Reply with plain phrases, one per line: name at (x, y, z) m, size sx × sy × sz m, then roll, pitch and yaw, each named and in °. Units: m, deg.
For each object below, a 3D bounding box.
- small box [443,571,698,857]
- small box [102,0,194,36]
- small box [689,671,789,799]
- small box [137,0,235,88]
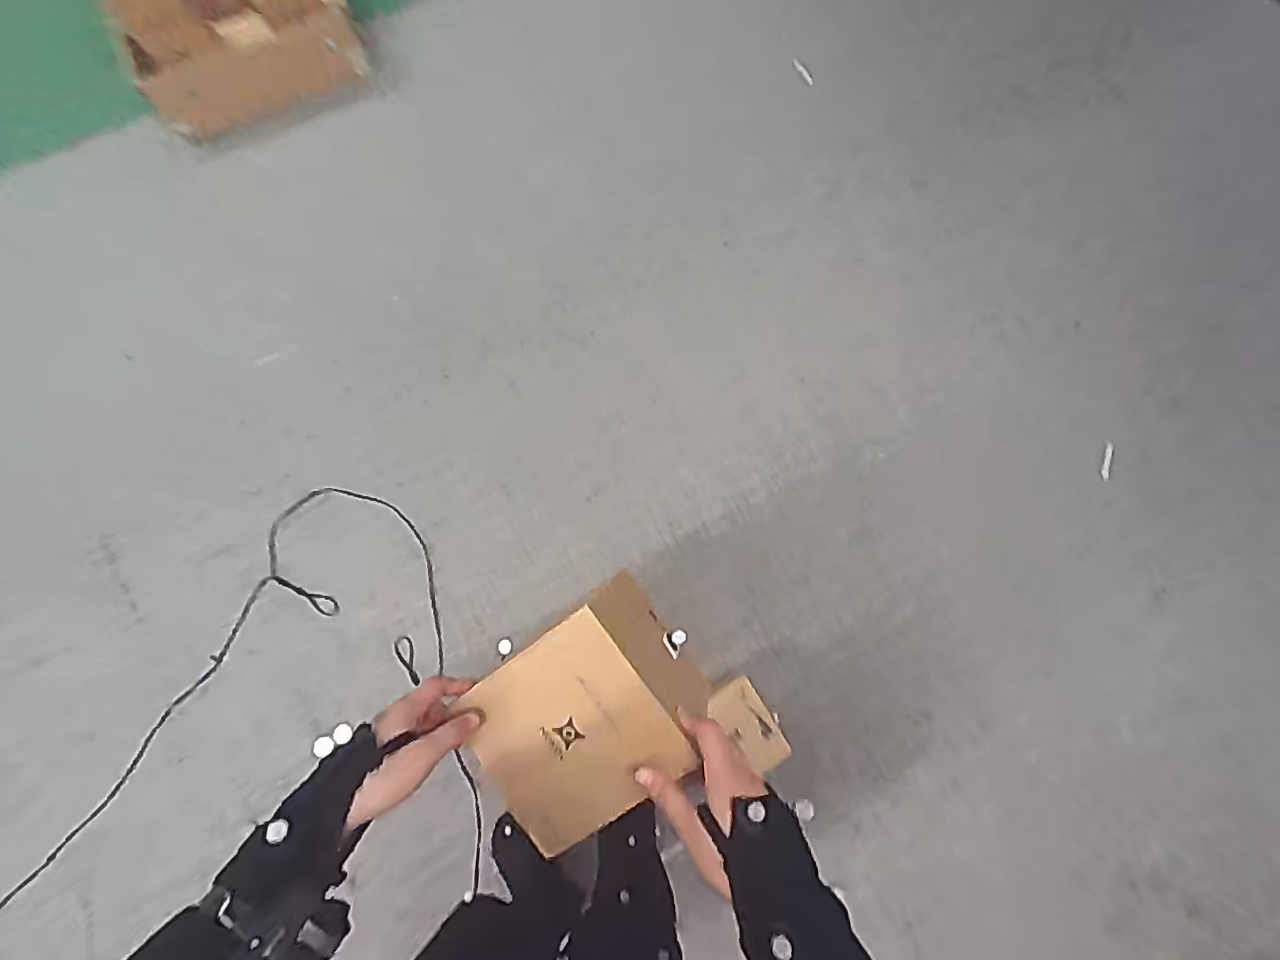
small box at (-0.054, 0.220, 0.554) m, size 0.179 × 0.176 × 0.168 m, roll -39°, pitch 88°, yaw 9°
small box at (-1.347, -1.333, 1.431) m, size 0.179 × 0.176 × 0.168 m, roll -26°, pitch 77°, yaw -7°
small box at (0.176, 0.517, 1.123) m, size 0.179 × 0.176 × 0.168 m, roll -30°, pitch 76°, yaw -6°
small box at (-1.345, -1.302, 1.592) m, size 0.168 × 0.176 × 0.179 m, roll -27°, pitch 77°, yaw -7°
